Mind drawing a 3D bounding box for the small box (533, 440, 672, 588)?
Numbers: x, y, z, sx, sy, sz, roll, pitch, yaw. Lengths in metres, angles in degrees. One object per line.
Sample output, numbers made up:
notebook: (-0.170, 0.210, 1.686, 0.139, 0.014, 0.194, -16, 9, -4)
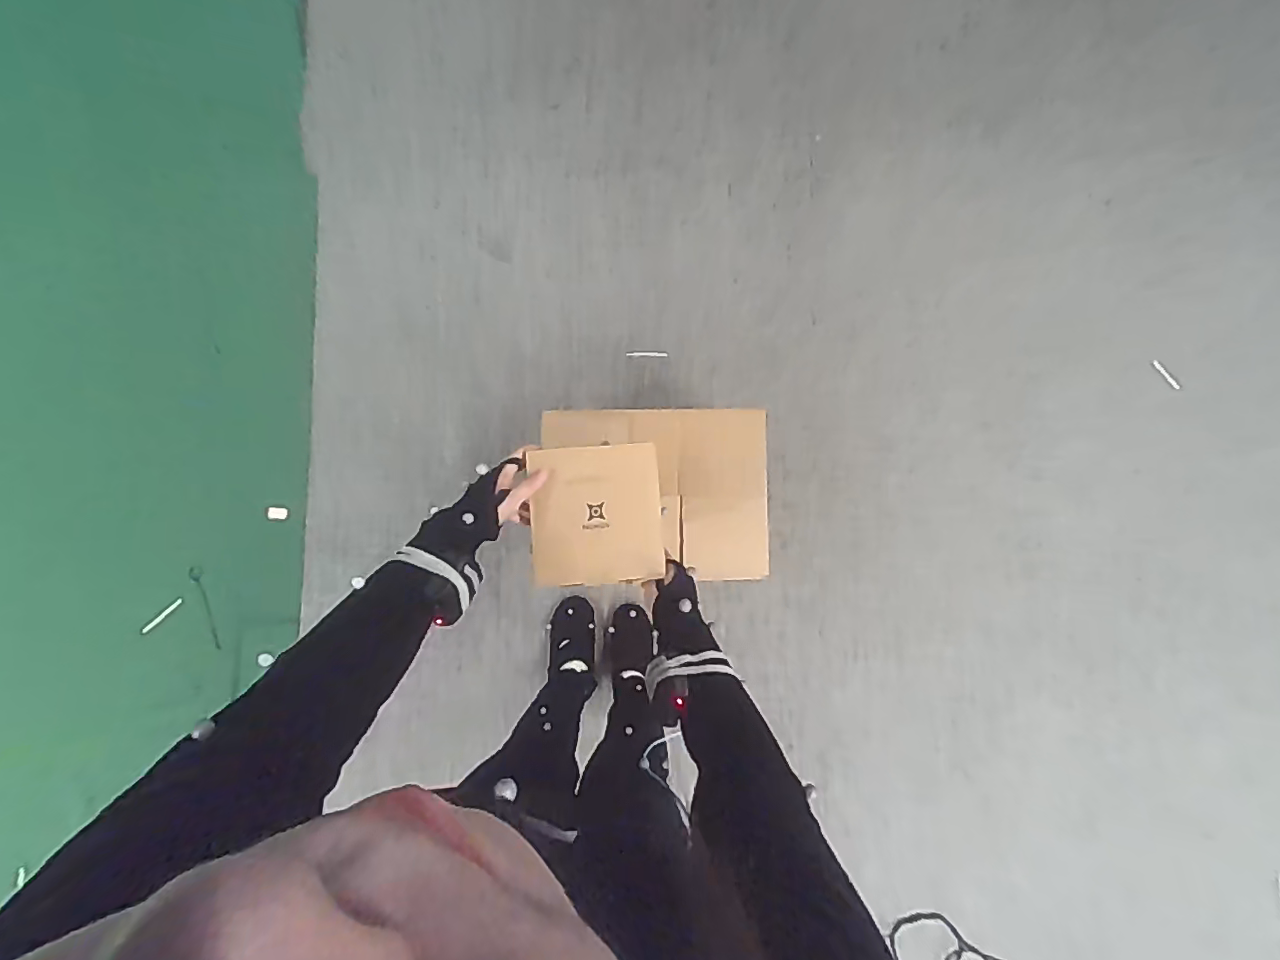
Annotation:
small box: (-0.049, 0.043, 0.745, 0.168, 0.176, 0.179, -4, 88, -3)
